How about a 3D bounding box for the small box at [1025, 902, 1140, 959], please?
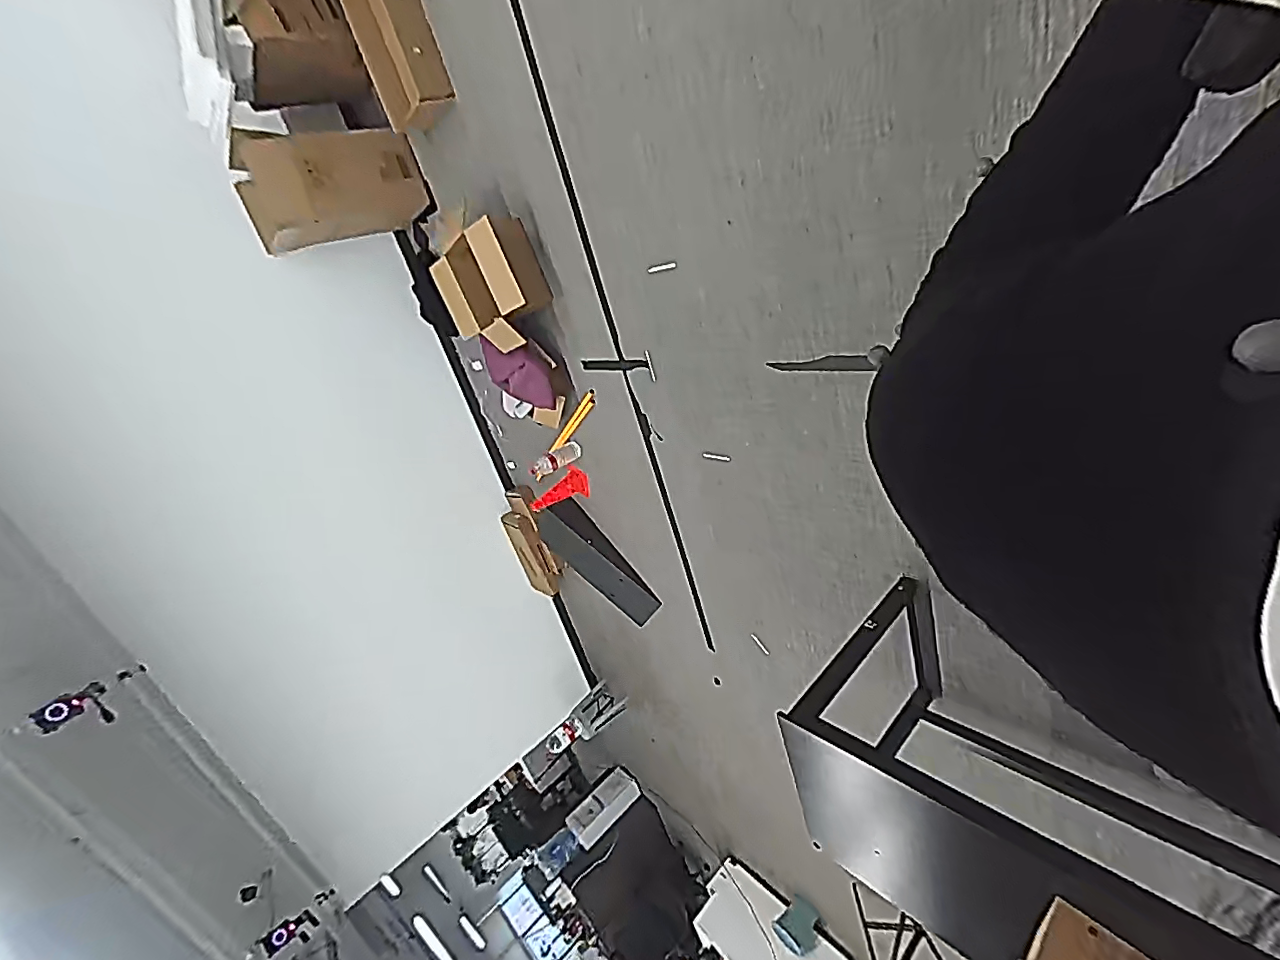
[{"bbox_3d":[0.825,0.945,1.004,0.168,0.176,0.179,24,136,43],"label":"small box"}]
